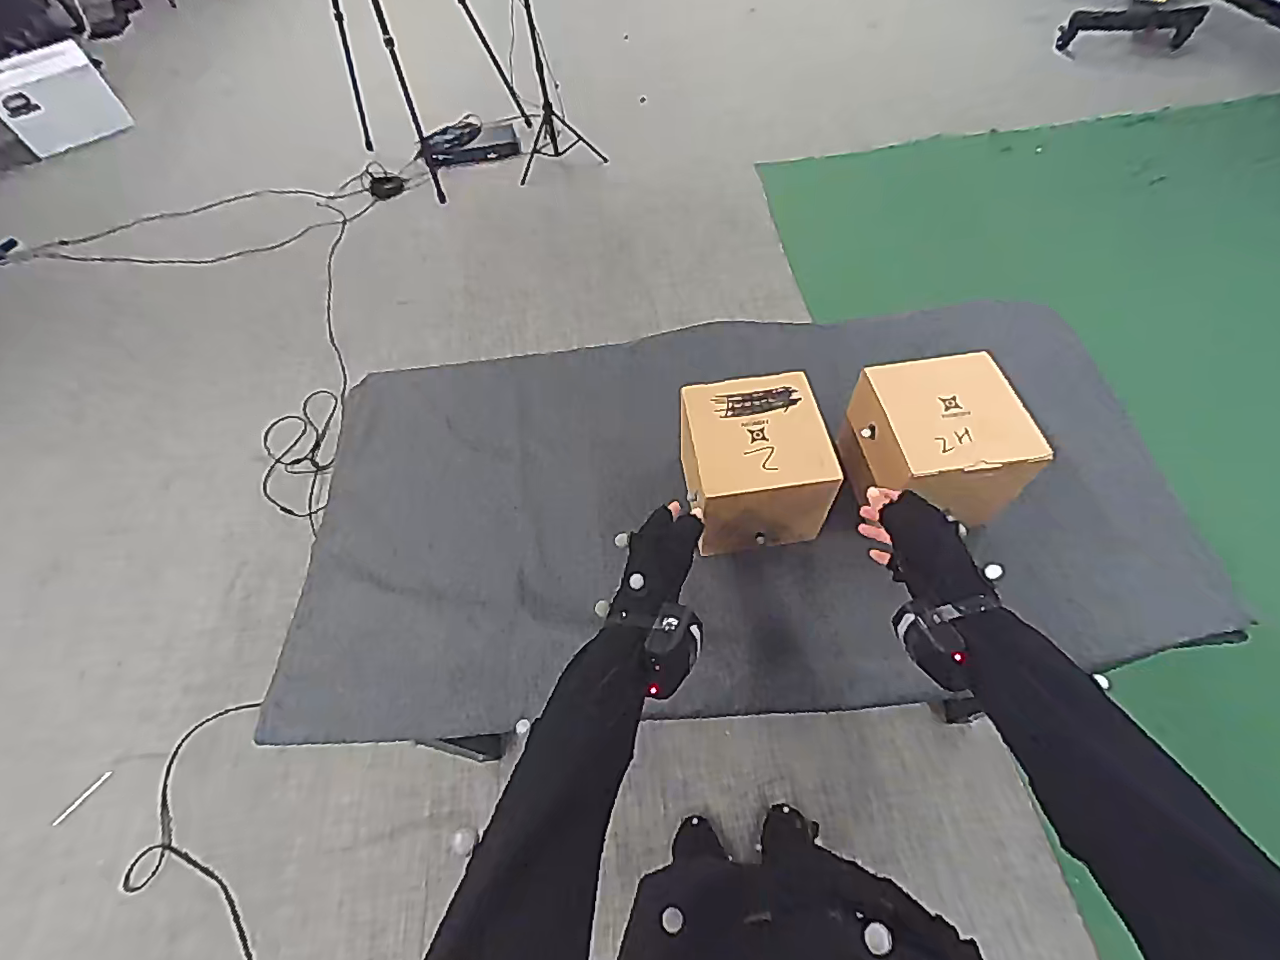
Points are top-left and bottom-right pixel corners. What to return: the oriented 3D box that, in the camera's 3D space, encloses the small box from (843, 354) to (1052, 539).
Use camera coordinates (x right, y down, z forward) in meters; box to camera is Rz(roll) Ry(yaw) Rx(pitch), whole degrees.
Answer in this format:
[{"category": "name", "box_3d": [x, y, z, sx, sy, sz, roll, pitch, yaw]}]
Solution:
[{"category": "small box", "box_3d": [0.393, -0.041, 0.735, 0.168, 0.176, 0.179, -8, 57, 2]}]
